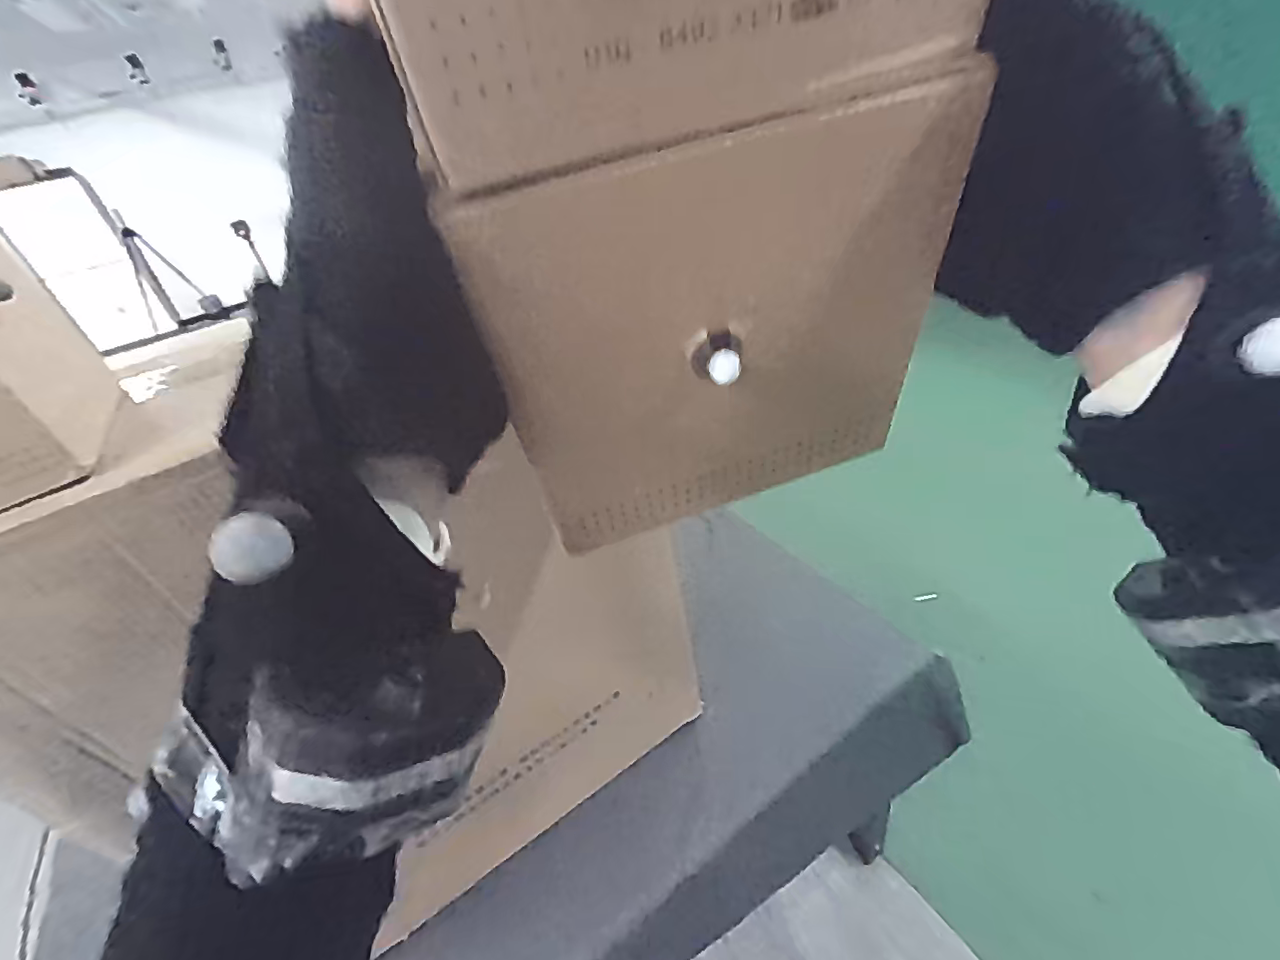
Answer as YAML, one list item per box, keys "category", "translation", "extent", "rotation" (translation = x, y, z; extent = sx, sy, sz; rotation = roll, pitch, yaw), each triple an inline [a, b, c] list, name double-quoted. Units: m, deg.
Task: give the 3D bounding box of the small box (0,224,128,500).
- category: "small box"
  translation: [-0.452, -0.074, 0.312]
  extent: [0.168, 0.176, 0.179]
  rotation: [-28, 41, -21]
